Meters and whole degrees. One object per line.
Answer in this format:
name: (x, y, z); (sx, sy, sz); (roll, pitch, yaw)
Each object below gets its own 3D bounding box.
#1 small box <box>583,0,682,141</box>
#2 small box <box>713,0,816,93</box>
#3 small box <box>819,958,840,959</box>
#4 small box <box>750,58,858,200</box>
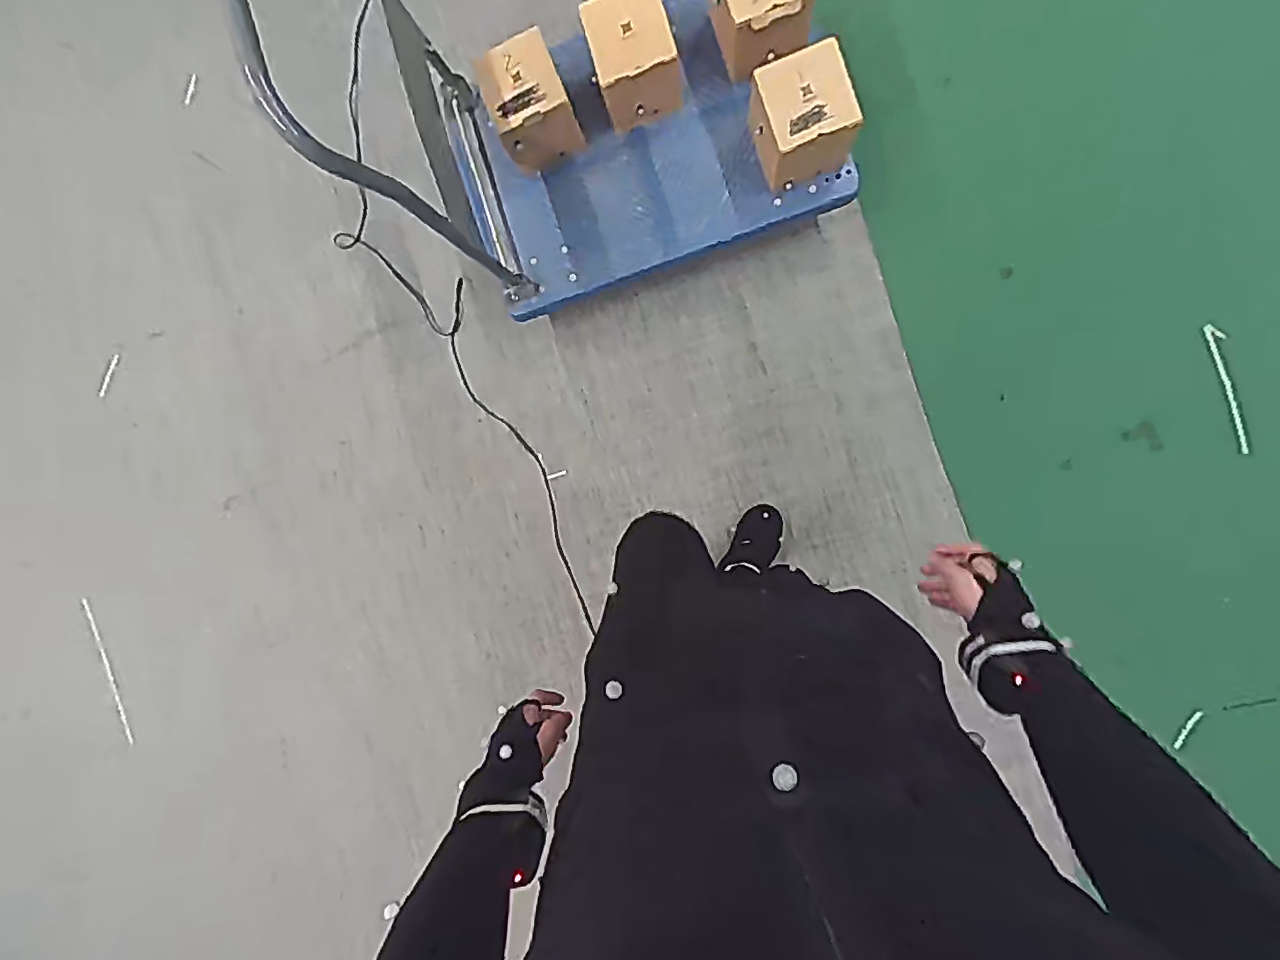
small box: (-0.010, -0.896, 1.186); (0.168, 0.176, 0.179); (-17, 90, 7)
small box: (0.254, -0.983, 1.147); (0.168, 0.176, 0.179); (-18, 89, 8)
small box: (0.454, 1.348, 1.351); (0.179, 0.176, 0.168); (-12, 89, 7)
small box: (0.343, -0.732, 1.158); (0.168, 0.176, 0.179); (-18, 88, 7)
